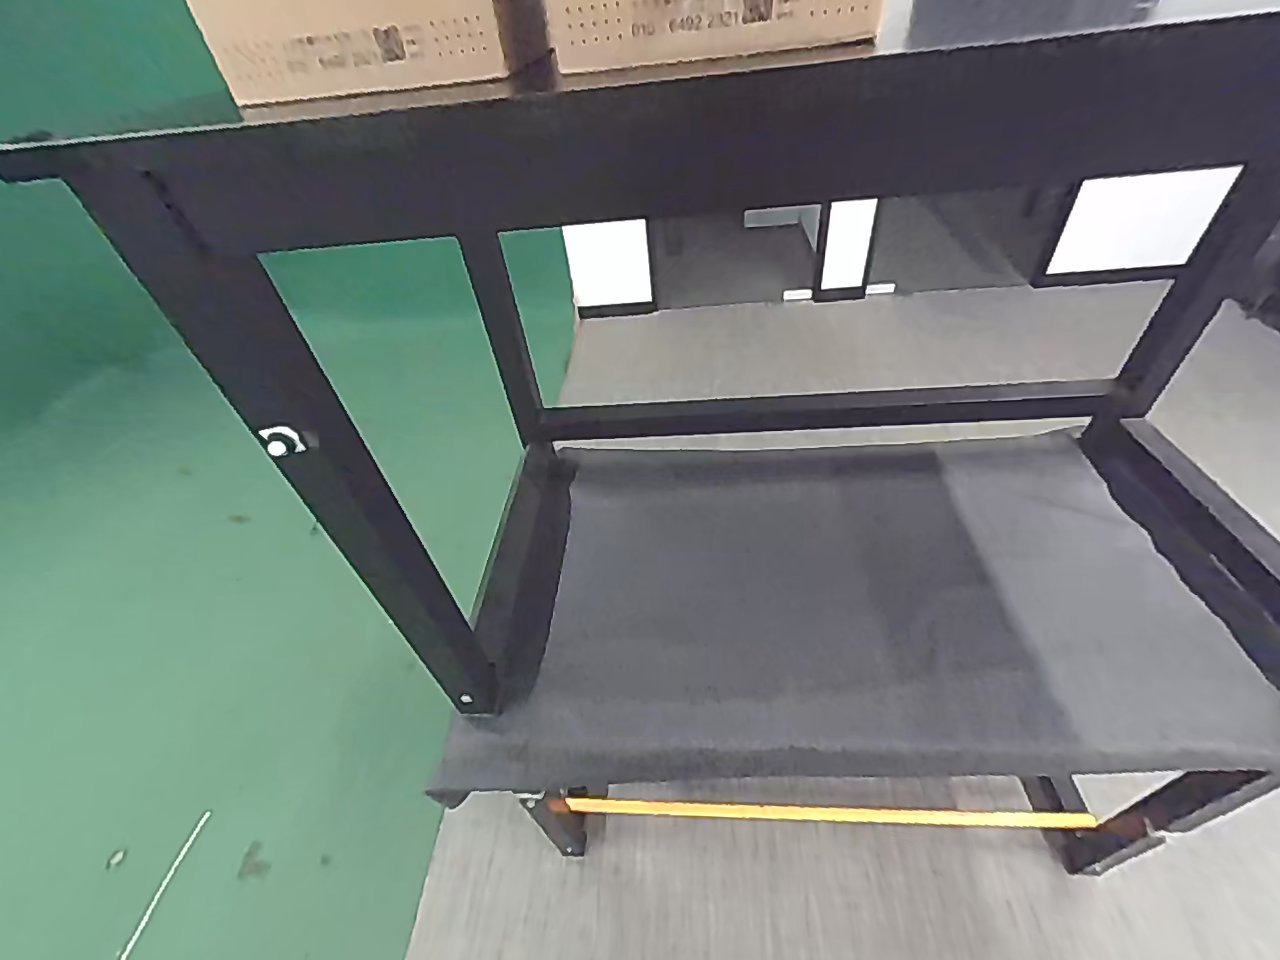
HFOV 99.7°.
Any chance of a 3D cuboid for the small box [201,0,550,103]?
[{"bbox_3d":[-0.159,-0.339,0.322,0.168,0.176,0.179,-1,43,5],"label":"small box"}]
